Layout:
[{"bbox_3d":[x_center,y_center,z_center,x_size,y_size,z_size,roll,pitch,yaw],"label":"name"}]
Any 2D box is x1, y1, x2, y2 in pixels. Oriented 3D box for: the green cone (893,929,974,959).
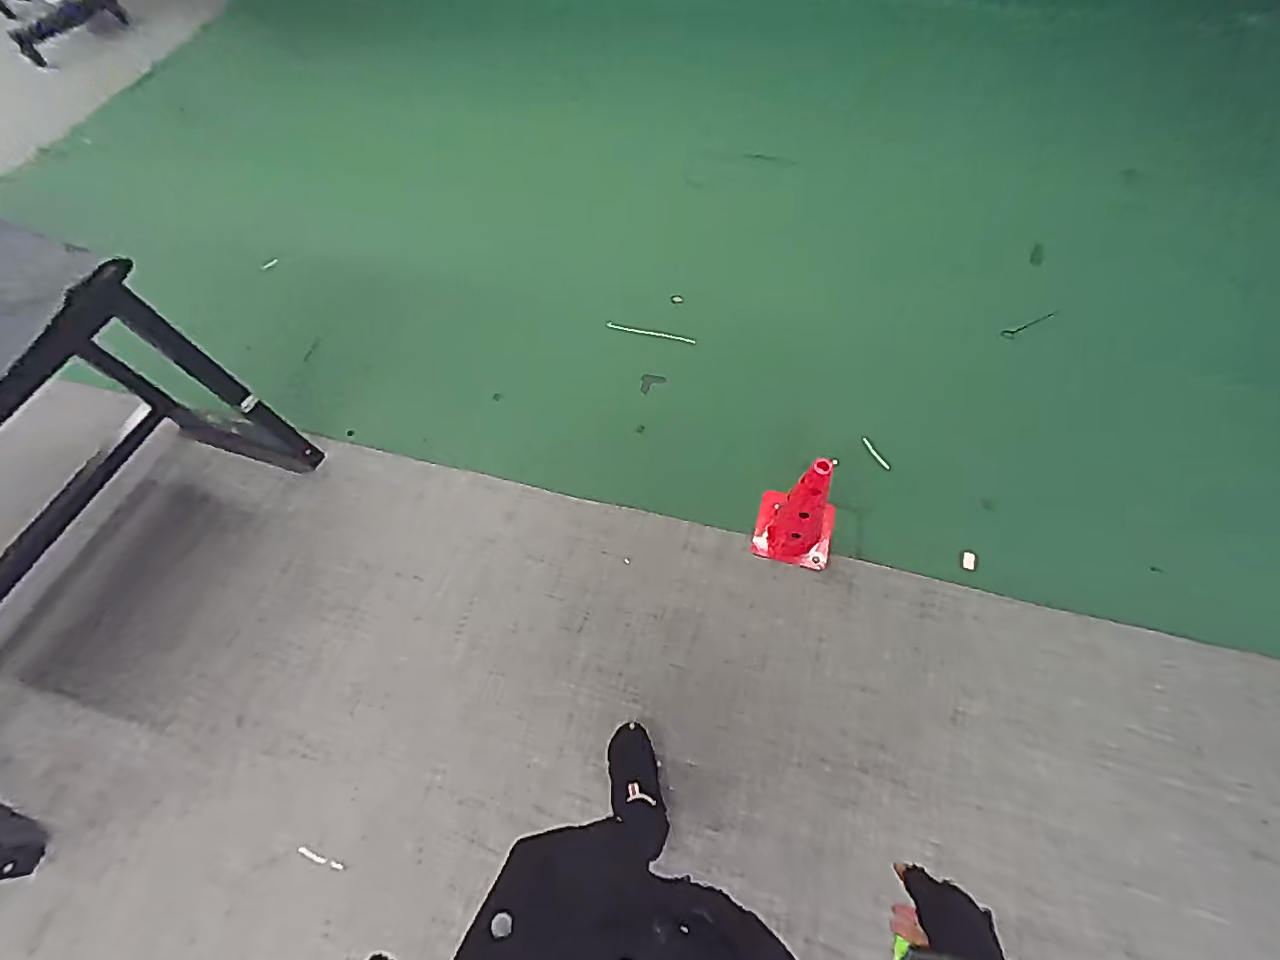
[{"bbox_3d":[0.552,0.910,0.856,0.200,0.368,0.202,18,65,14],"label":"green cone"}]
